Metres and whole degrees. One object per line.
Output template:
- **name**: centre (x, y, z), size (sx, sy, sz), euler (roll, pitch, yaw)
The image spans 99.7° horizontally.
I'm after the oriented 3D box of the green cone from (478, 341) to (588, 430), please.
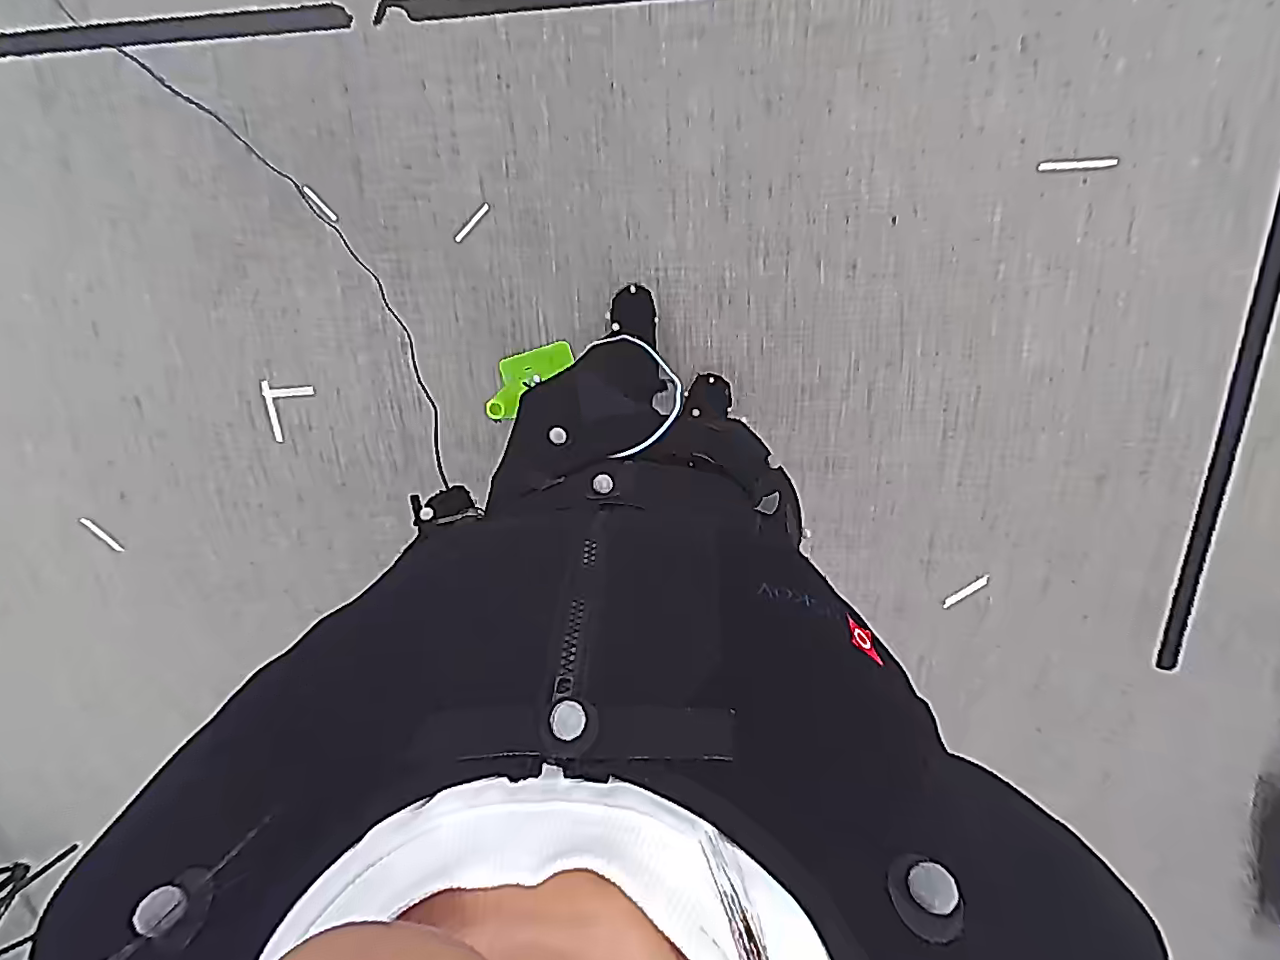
- **green cone**: centre (-0.276, -0.197, 1.245), size (0.202, 0.368, 0.200), euler (-15, 103, 12)
